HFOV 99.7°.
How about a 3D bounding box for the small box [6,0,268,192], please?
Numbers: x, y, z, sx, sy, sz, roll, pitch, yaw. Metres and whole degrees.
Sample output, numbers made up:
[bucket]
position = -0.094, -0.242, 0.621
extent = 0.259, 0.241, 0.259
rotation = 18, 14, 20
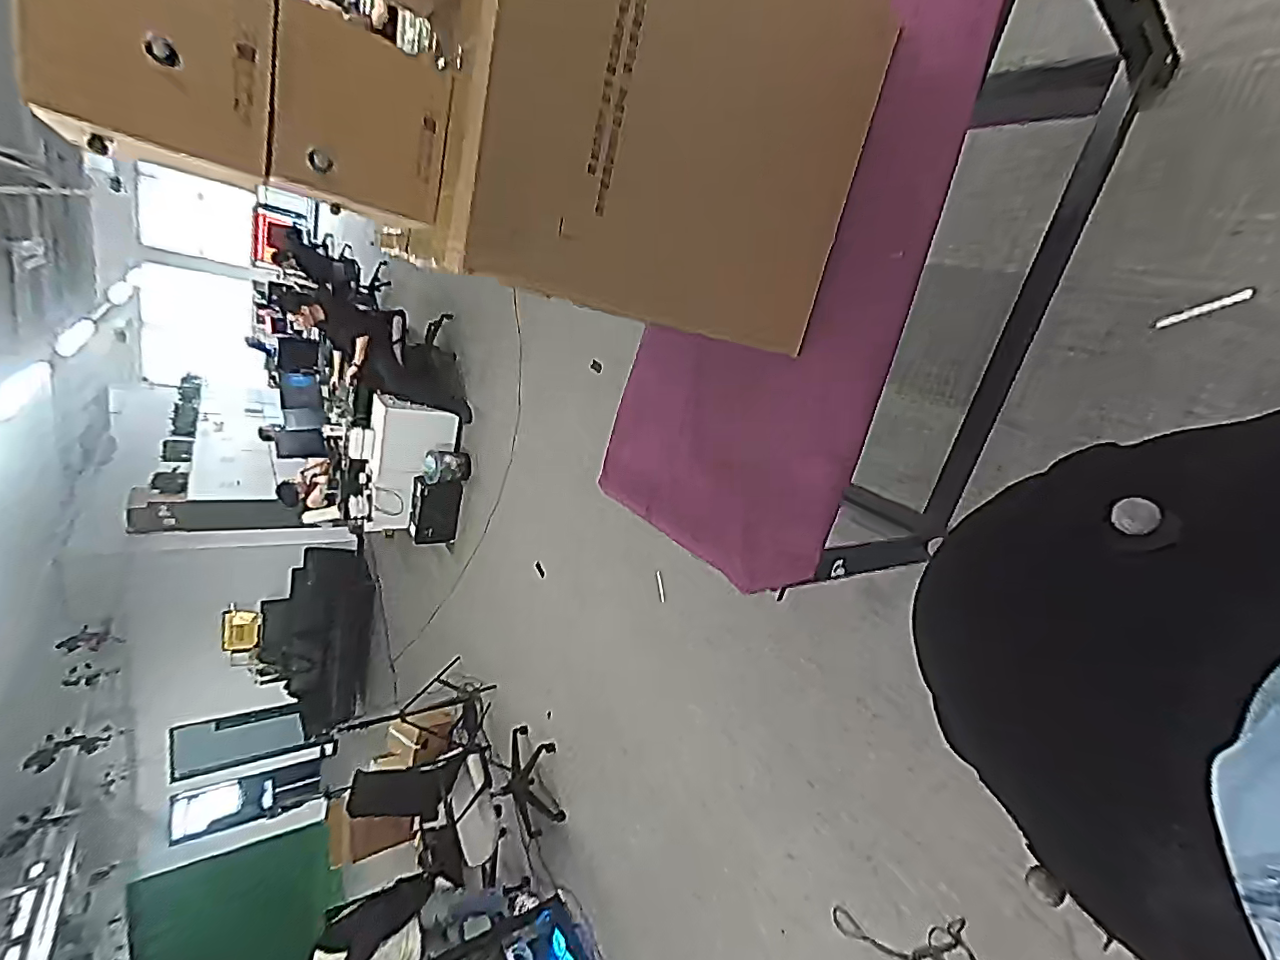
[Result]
[small box]
position = -0.472, -0.403, 0.529
extent = 0.179, 0.176, 0.168
rotation = 28, 109, 49
